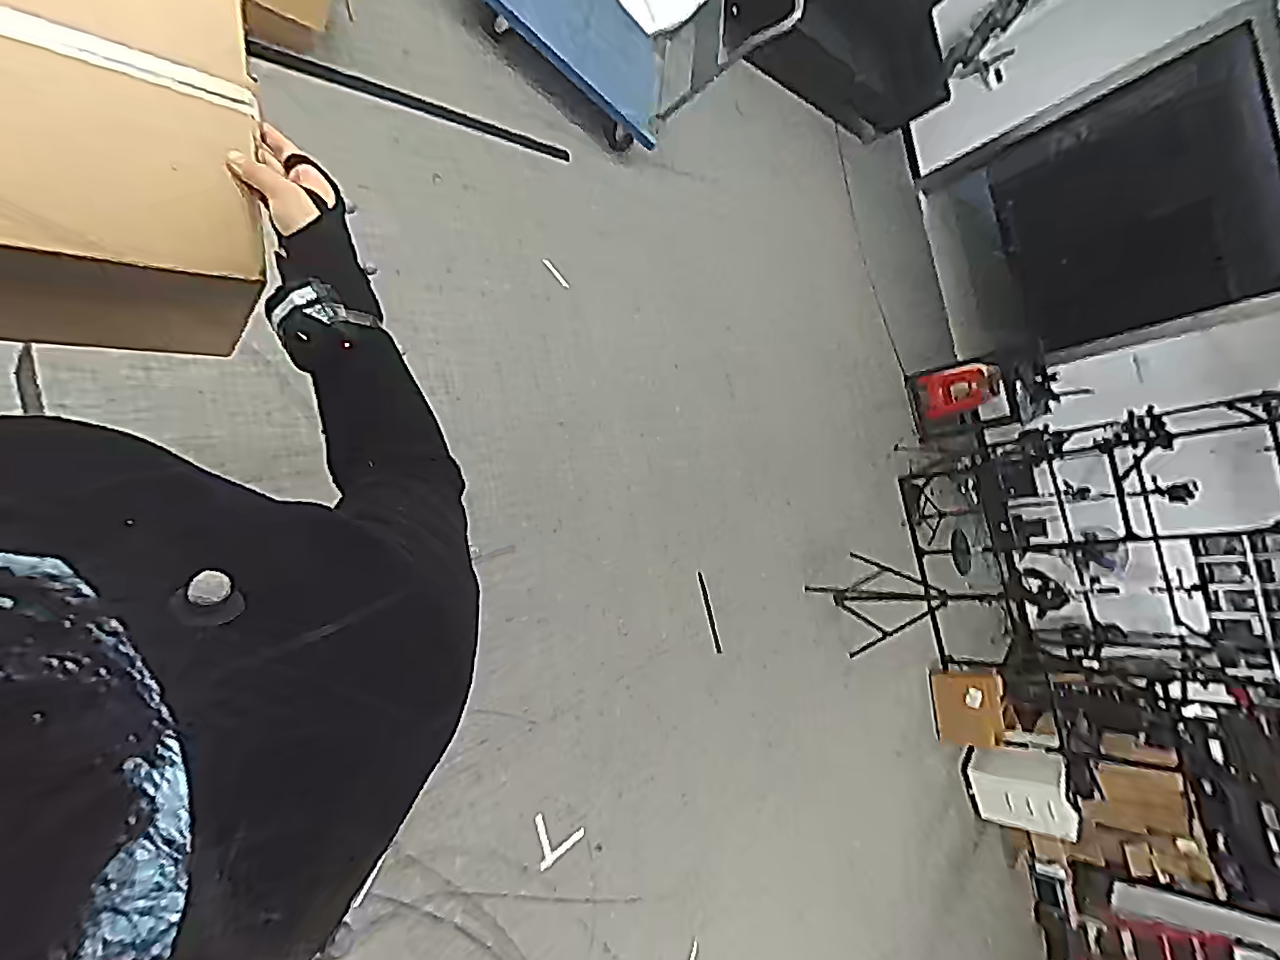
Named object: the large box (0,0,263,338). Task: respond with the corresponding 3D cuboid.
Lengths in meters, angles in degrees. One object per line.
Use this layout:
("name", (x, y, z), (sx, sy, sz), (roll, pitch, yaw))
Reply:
("large box", (-0.601, -0.317, 0.462), (0.408, 0.320, 0.320), (-7, 92, -42))
